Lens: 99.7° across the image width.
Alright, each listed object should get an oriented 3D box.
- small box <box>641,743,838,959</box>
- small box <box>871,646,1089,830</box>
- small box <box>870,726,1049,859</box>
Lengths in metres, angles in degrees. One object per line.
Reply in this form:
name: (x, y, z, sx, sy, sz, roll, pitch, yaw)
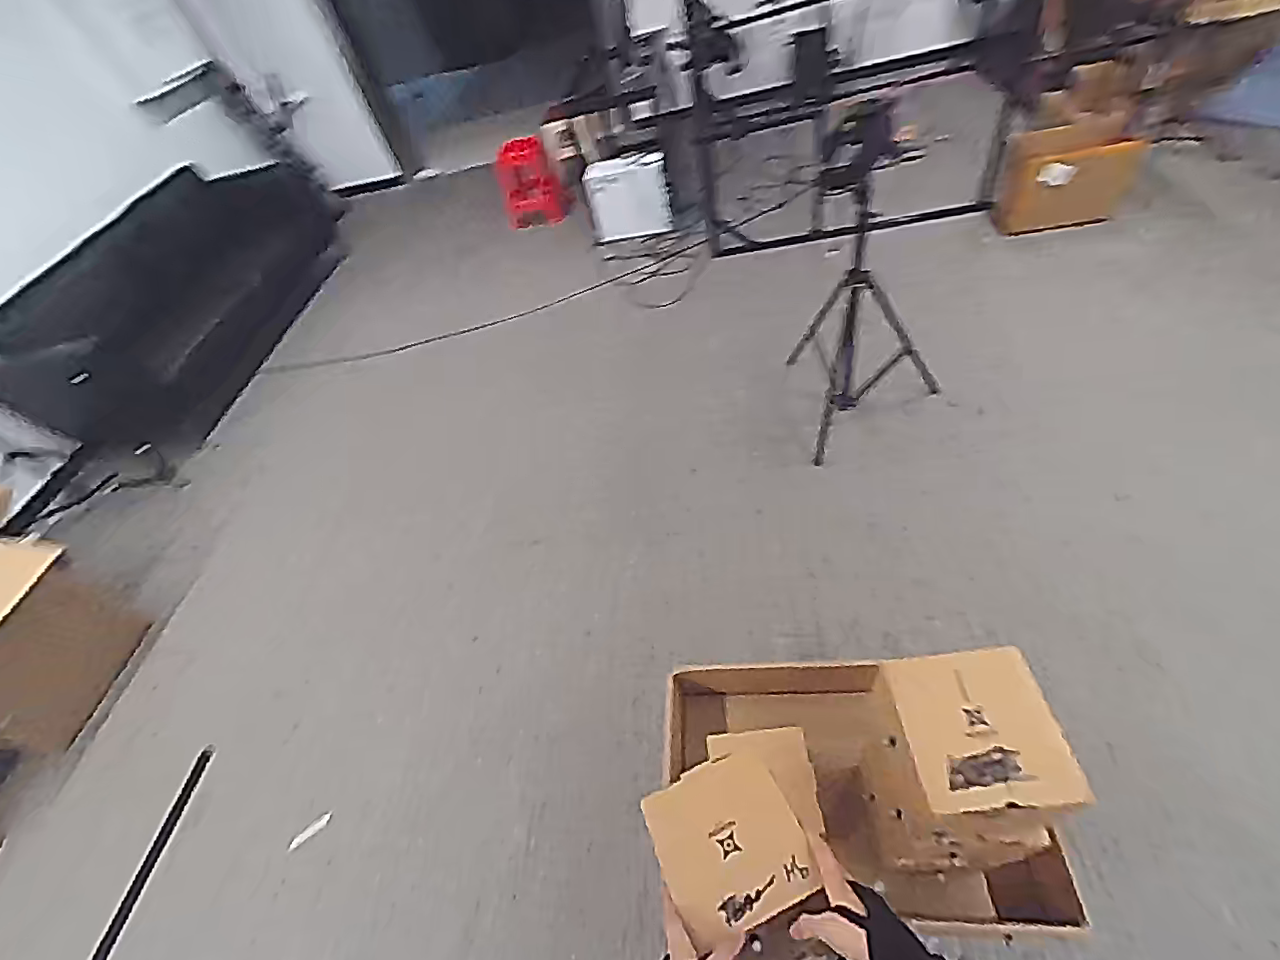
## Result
small box: (0.121, 0.478, 0.669, 0.168, 0.176, 0.179, -25, 32, -7)
small box: (0.409, 0.335, 0.690, 0.168, 0.176, 0.179, -10, 49, 8)
small box: (0.452, 0.447, 0.803, 0.168, 0.176, 0.179, -8, 50, 11)
